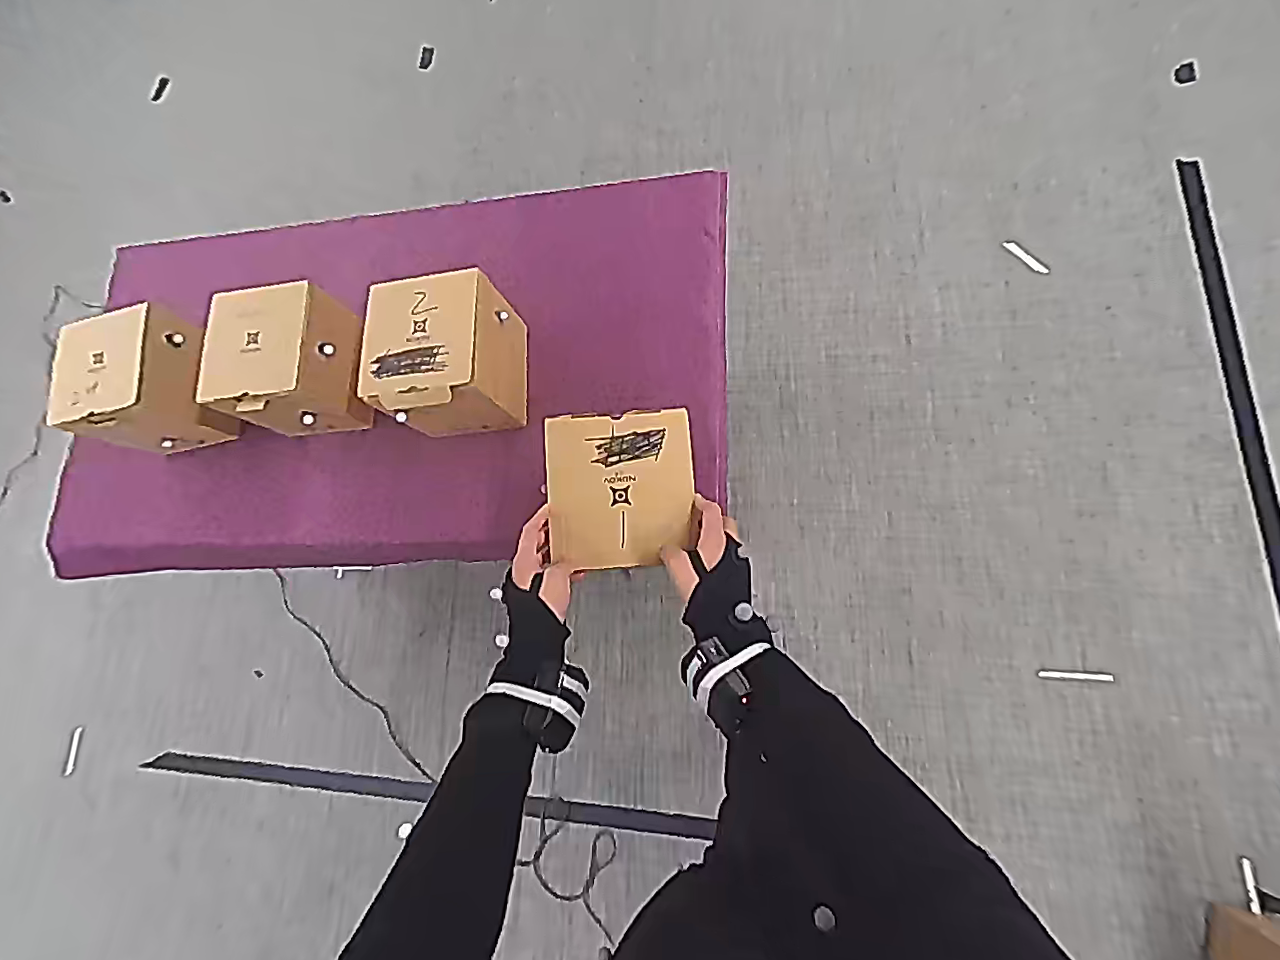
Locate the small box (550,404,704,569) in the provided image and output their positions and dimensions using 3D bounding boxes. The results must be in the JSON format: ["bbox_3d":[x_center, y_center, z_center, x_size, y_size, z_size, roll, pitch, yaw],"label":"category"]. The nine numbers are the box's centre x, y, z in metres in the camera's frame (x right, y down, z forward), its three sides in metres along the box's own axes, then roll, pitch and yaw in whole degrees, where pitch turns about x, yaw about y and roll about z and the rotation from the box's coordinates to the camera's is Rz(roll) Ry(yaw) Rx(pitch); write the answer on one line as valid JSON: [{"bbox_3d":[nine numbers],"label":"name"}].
[{"bbox_3d":[-0.016,0.017,0.674,0.168,0.176,0.179,-4,80,0],"label":"small box"}]

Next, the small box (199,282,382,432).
[{"bbox_3d":[-0.533,-0.180,0.848,0.168,0.176,0.179,-3,76,10],"label":"small box"}]

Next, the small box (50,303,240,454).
[{"bbox_3d":[-0.798,-0.158,0.895,0.168,0.176,0.179,-10,76,9],"label":"small box"}]
